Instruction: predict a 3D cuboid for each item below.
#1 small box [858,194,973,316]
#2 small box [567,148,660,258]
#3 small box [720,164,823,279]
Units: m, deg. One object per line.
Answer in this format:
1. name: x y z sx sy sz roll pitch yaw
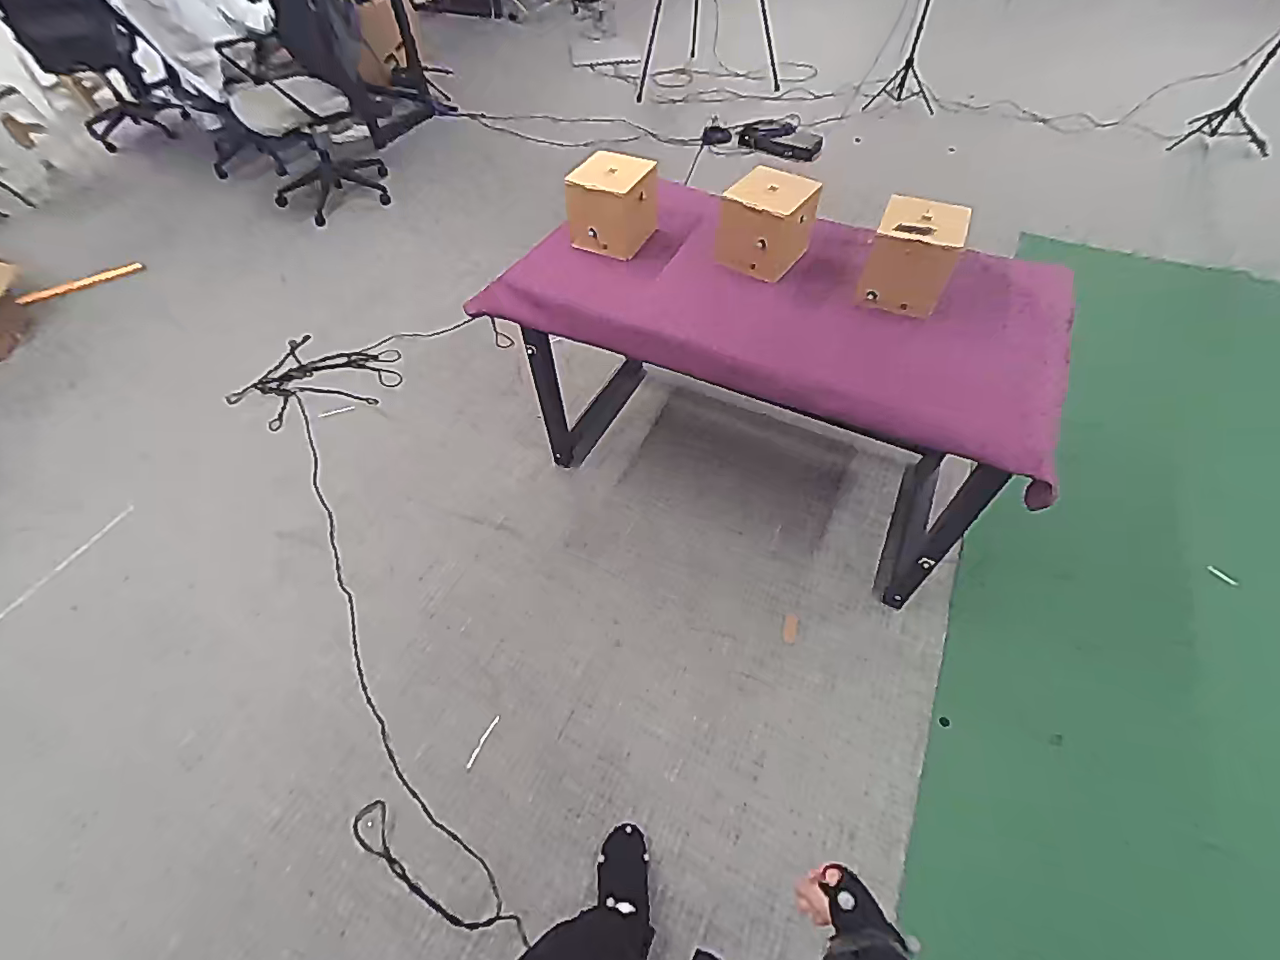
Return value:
1. small box: 0.586 -0.483 1.167 0.168 0.176 0.179 20 56 16
2. small box: -0.062 -0.686 1.343 0.168 0.176 0.179 22 58 17
3. small box: 0.300 -0.601 1.267 0.168 0.176 0.179 31 60 22
